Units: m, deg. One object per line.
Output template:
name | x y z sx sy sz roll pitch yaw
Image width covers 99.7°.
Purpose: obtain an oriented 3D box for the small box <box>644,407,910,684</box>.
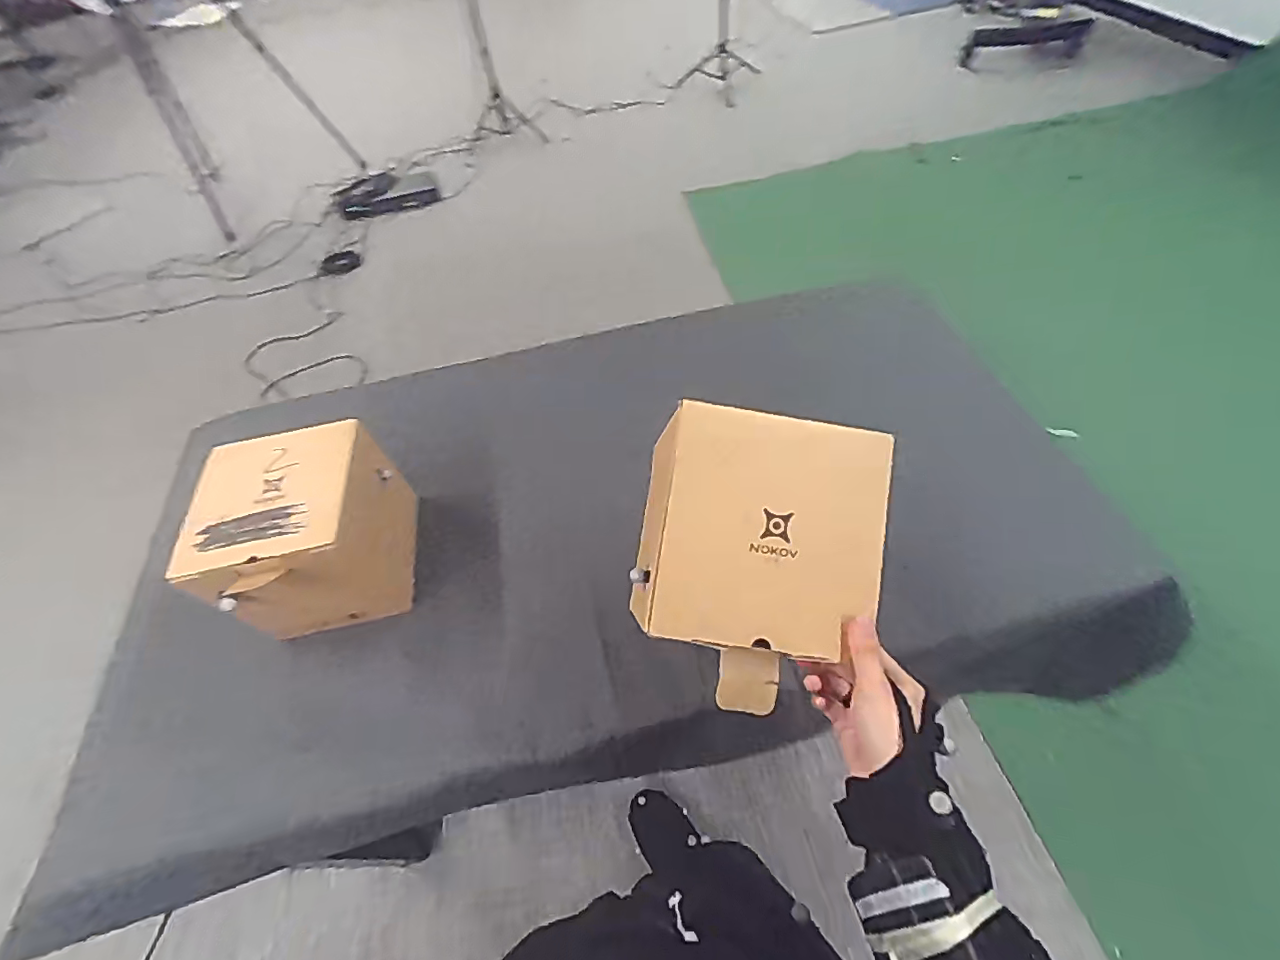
small box | 0.100 0.054 0.467 0.168 0.176 0.179 10 84 -3
